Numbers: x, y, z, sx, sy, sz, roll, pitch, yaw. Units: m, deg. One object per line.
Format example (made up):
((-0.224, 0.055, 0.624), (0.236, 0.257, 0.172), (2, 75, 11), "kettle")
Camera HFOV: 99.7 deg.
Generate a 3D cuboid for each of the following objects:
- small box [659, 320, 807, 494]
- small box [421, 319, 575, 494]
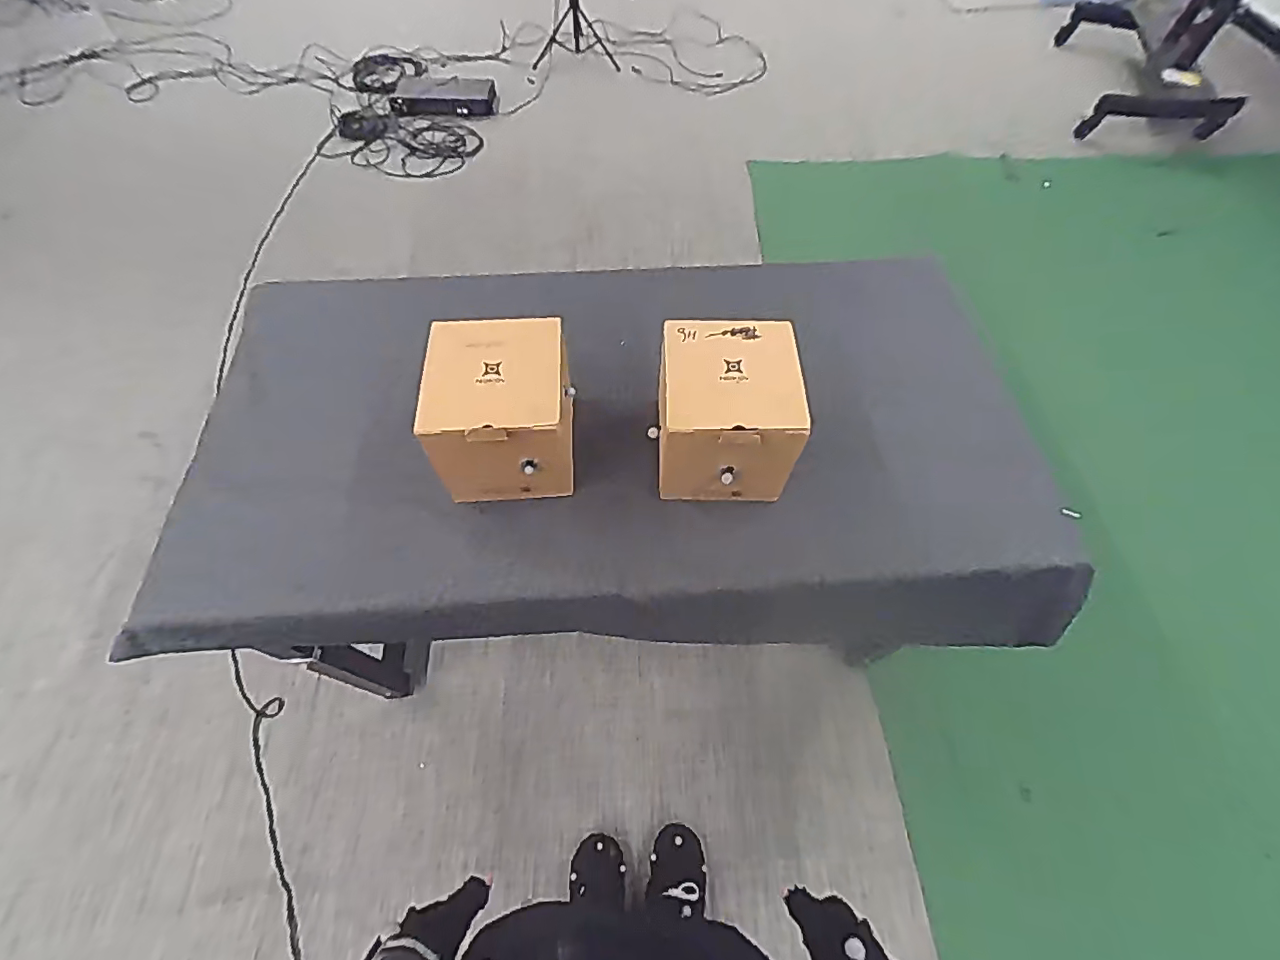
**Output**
((0.113, -0.091, 0.728), (0.168, 0.176, 0.179), (1, 61, 0), "small box")
((-0.176, -0.091, 0.728), (0.168, 0.176, 0.179), (-3, 59, -4), "small box")
